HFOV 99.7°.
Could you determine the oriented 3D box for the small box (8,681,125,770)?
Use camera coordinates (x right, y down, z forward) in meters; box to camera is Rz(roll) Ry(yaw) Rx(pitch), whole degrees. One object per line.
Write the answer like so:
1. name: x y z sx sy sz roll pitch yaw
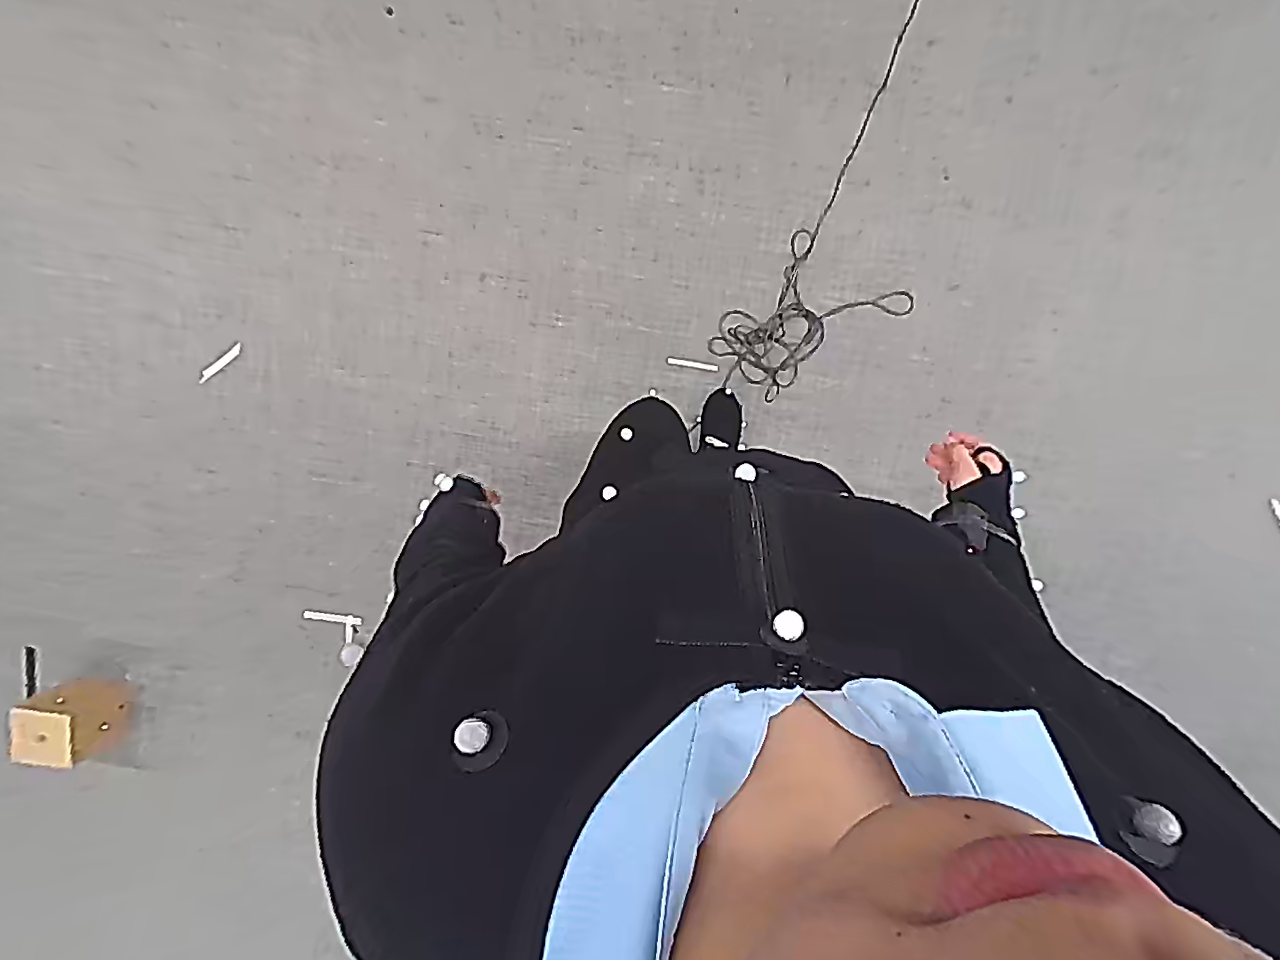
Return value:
1. small box: -1.662 0.709 1.577 0.179 0.176 0.168 7 97 3
